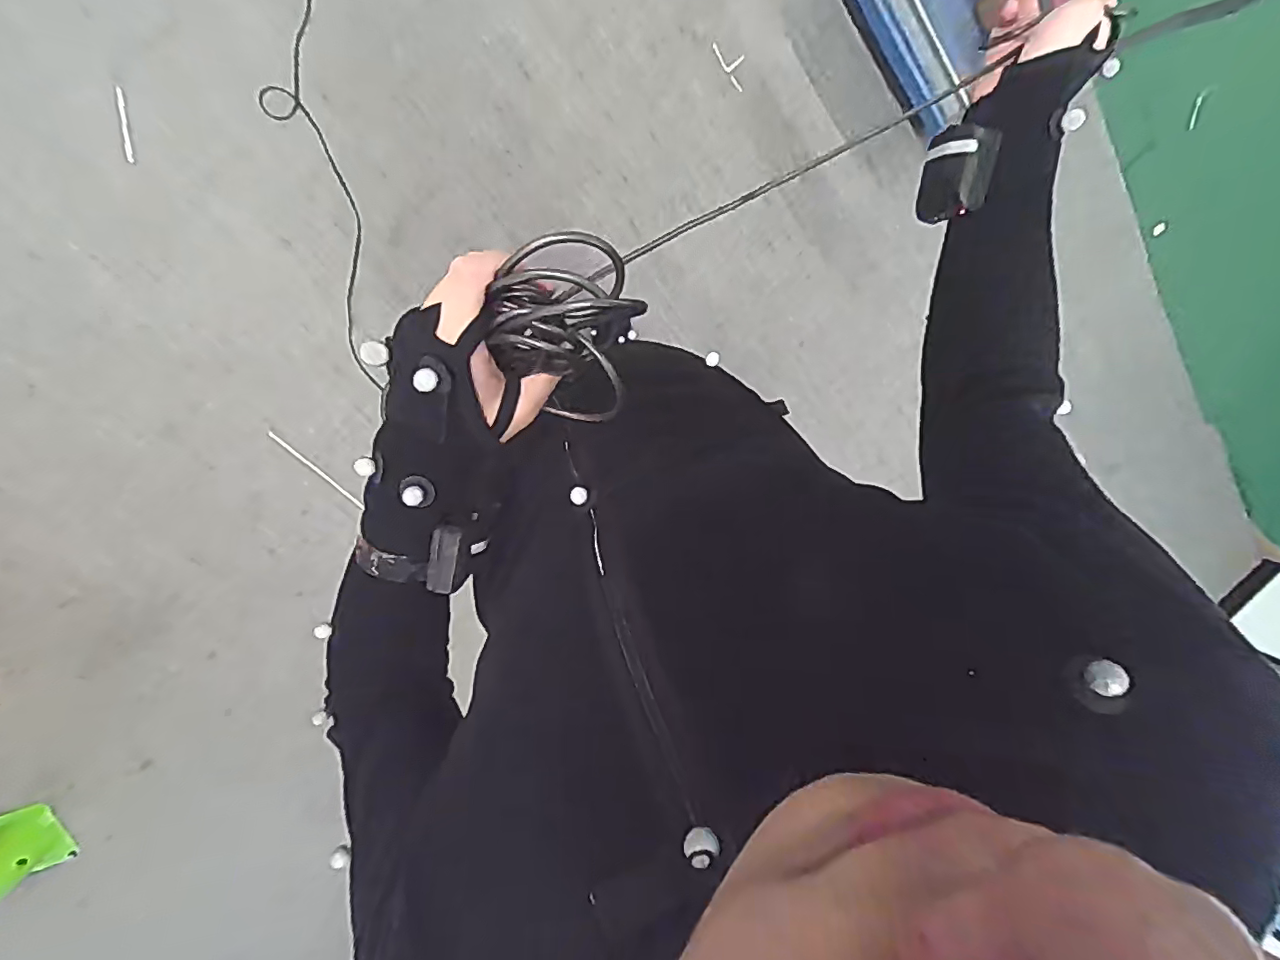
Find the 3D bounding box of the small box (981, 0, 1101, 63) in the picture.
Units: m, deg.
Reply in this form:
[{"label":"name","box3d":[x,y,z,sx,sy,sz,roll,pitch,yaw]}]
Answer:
[{"label":"small box","box3d":[0.989,-1.184,1.323,0.179,0.176,0.168,-43,111,1]}]
